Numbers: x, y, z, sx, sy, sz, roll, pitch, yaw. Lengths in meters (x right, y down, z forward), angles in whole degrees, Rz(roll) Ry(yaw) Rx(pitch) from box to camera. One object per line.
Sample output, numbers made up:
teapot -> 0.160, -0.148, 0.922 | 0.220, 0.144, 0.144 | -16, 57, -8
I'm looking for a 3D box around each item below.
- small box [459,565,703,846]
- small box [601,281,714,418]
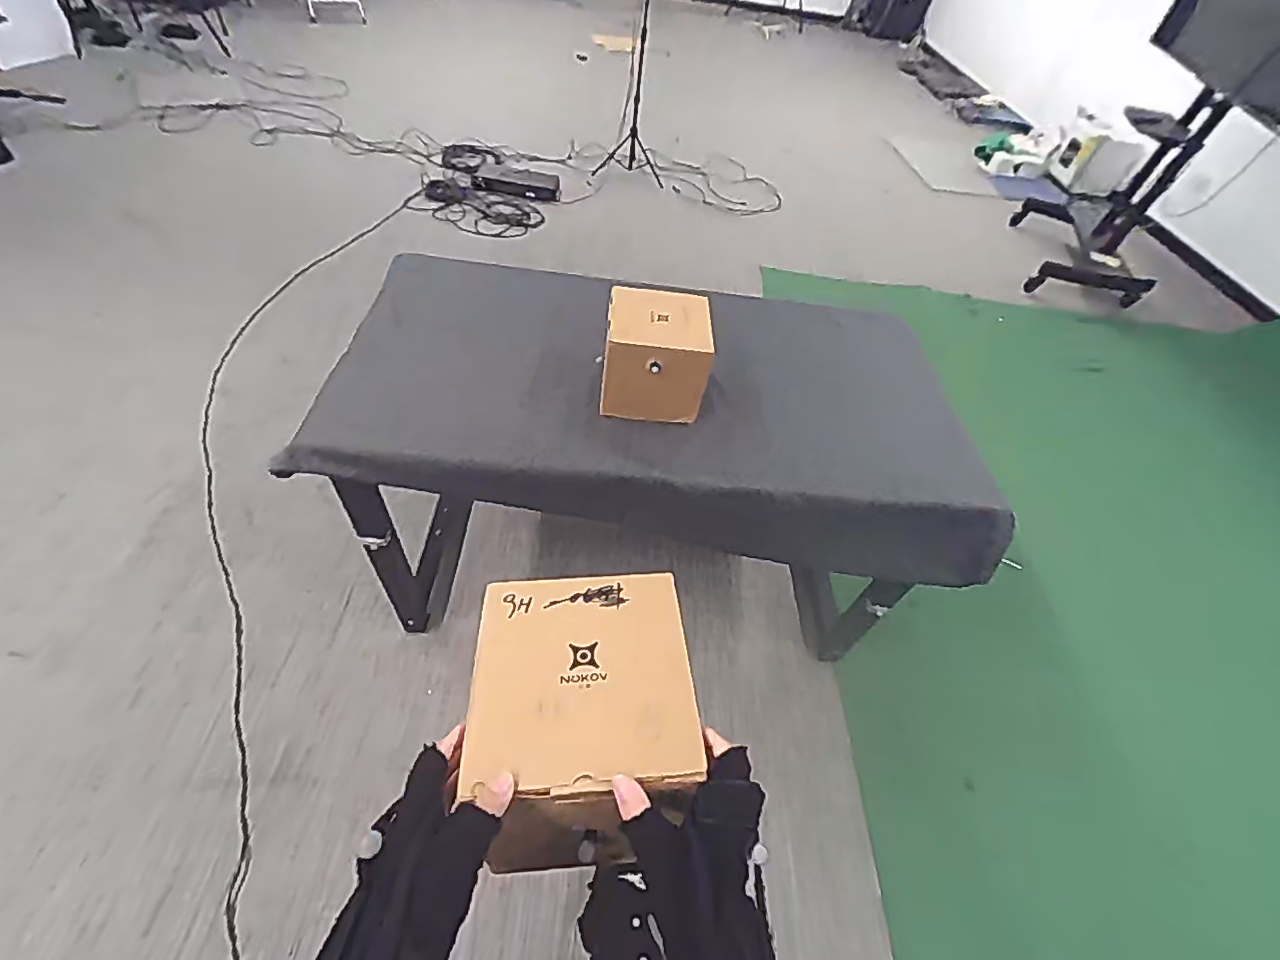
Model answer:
small box -> -0.045, 0.197, 0.469 | 0.168, 0.176, 0.179 | -2, 43, -5
small box -> 0.024, -0.230, 0.969 | 0.179, 0.176, 0.168 | 5, 51, -6
